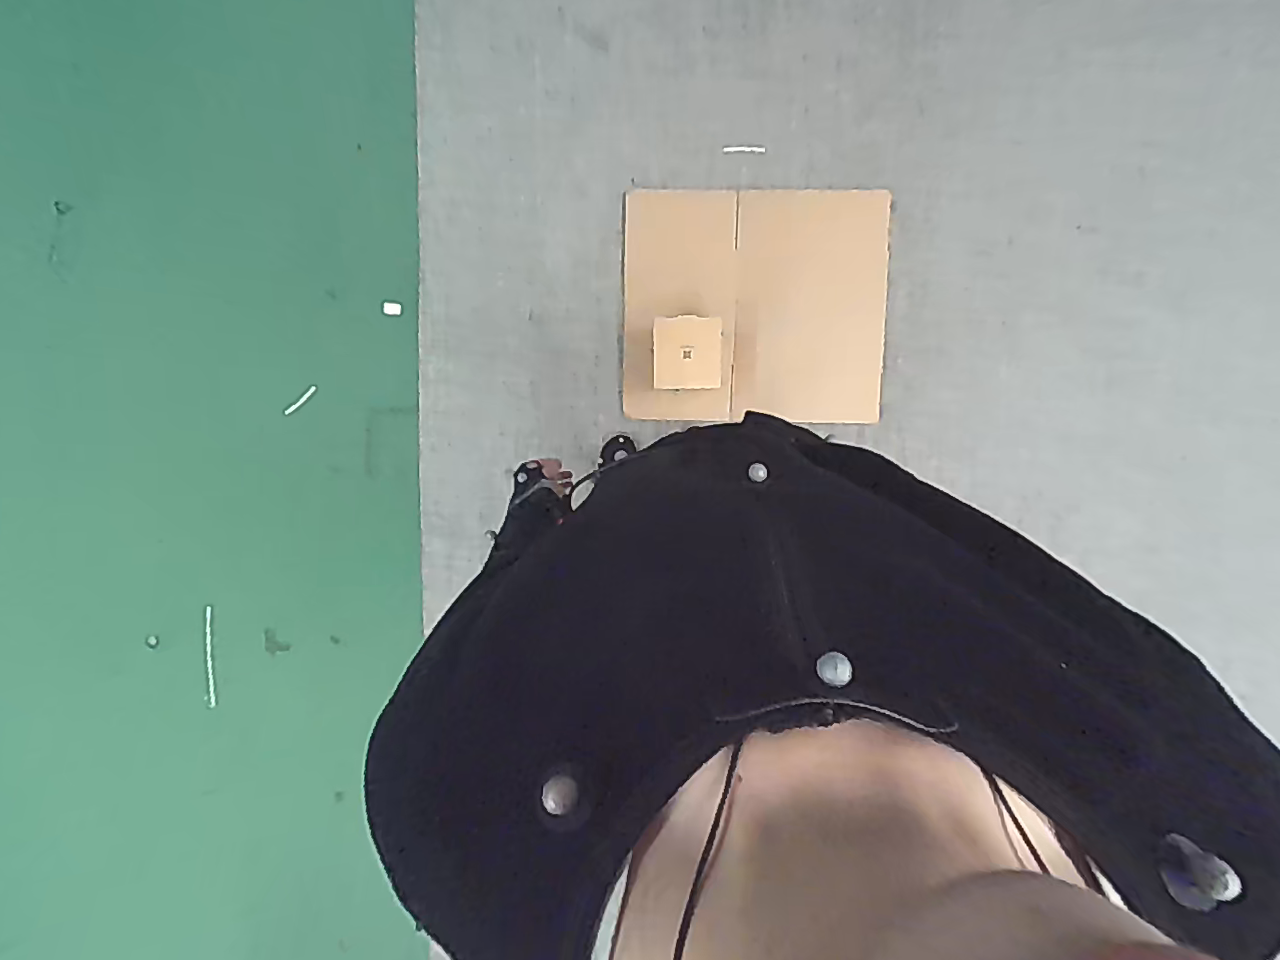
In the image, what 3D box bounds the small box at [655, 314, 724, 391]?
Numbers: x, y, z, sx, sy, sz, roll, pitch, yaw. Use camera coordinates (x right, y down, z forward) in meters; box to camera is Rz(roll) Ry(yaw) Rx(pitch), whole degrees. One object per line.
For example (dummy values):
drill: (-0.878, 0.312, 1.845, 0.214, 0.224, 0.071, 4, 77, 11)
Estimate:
small box: (0.122, -0.318, 1.377, 0.168, 0.176, 0.179, 0, 95, 2)
